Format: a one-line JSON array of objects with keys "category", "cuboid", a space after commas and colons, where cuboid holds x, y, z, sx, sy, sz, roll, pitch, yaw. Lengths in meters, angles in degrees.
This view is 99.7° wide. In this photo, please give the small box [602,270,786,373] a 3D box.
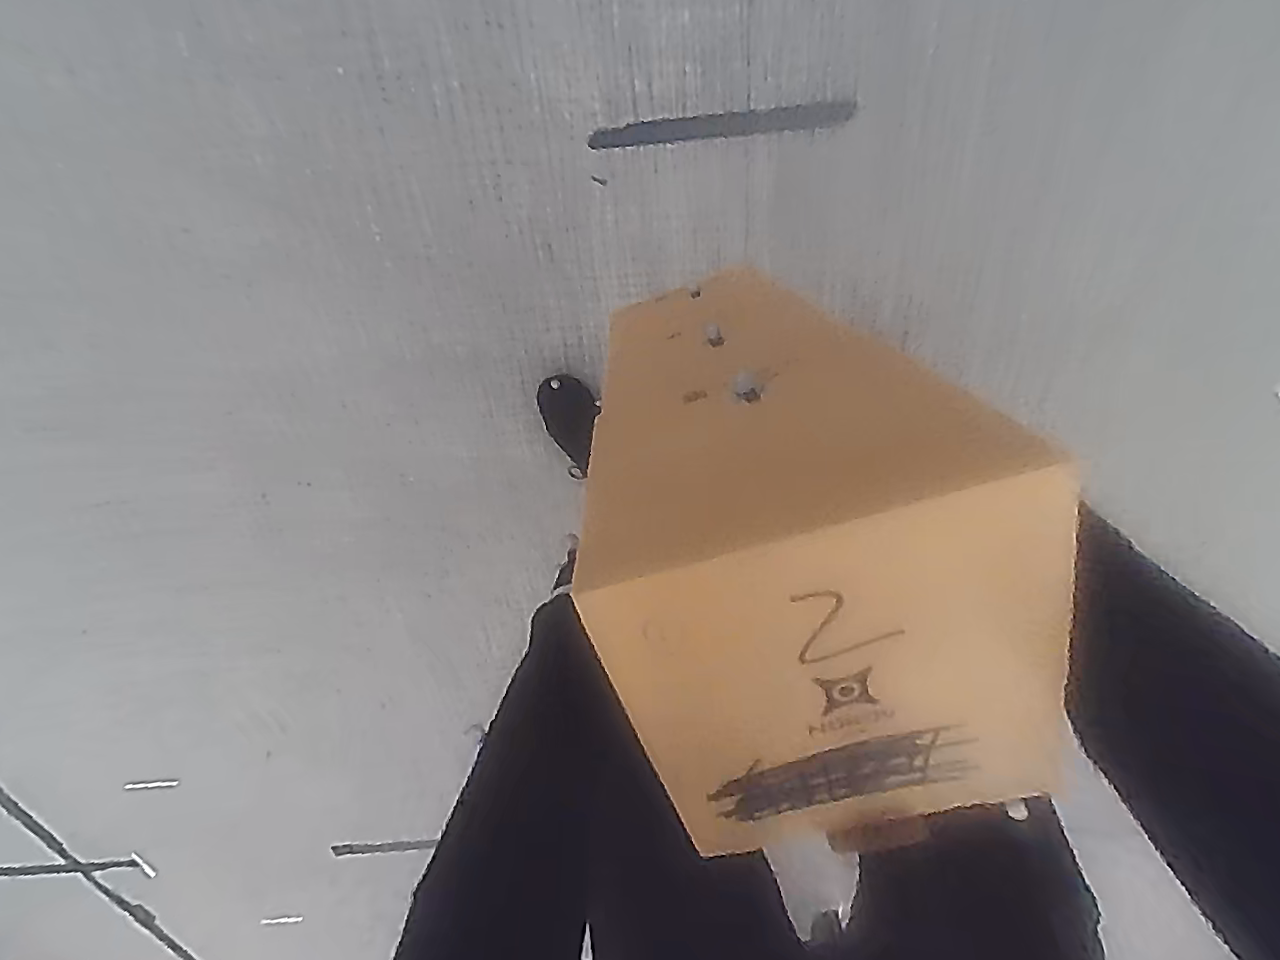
[{"category": "small box", "cuboid": [0.069, -0.099, 0.571, 0.168, 0.176, 0.179, -19, 118, 8]}]
